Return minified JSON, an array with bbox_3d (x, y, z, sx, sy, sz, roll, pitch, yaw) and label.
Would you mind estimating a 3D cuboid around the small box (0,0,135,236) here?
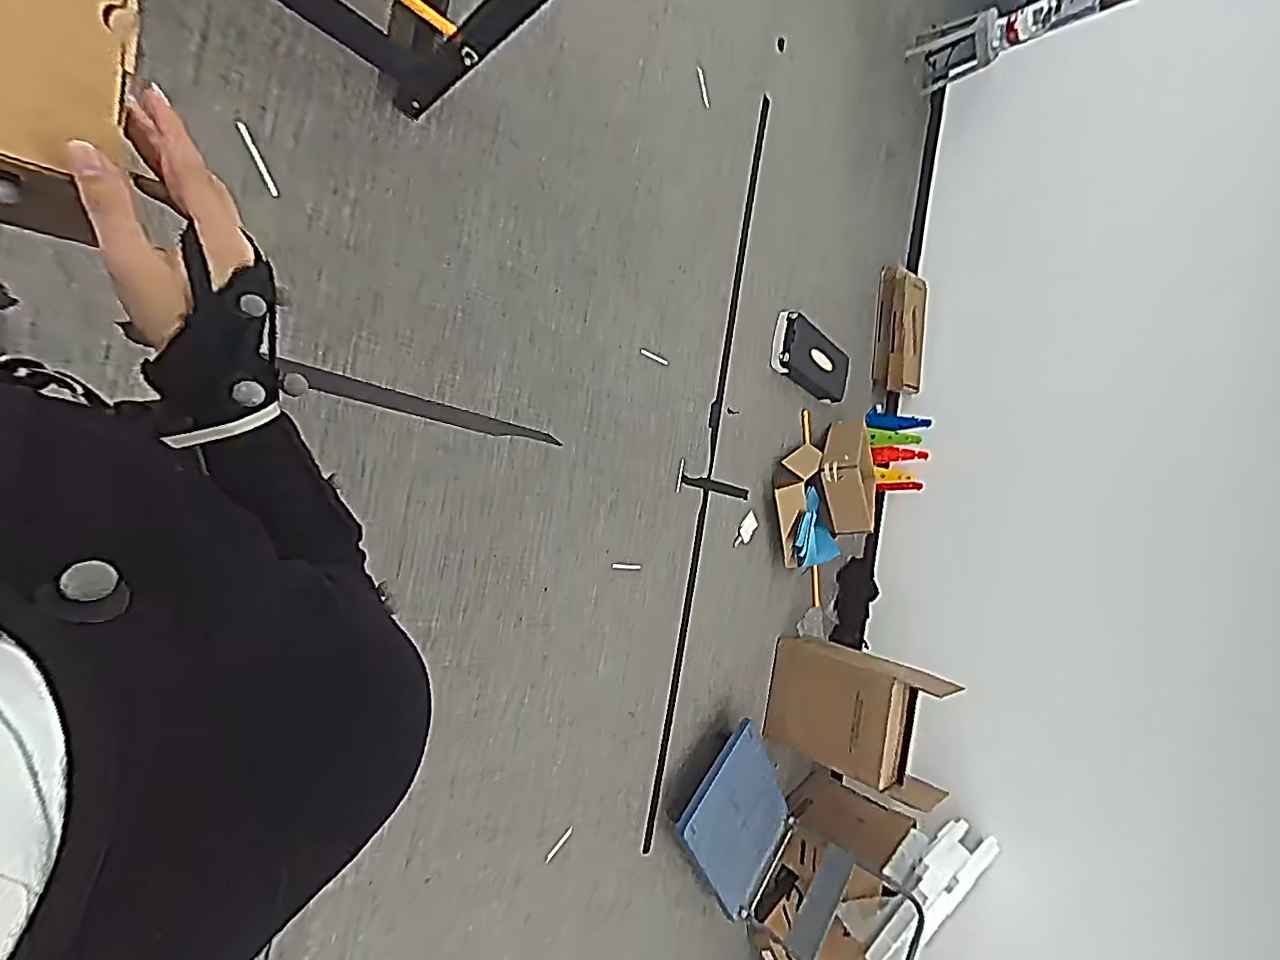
[{"bbox_3d":[-0.380,-0.244,0.271,0.179,0.176,0.168,4,94,-47],"label":"small box"}]
